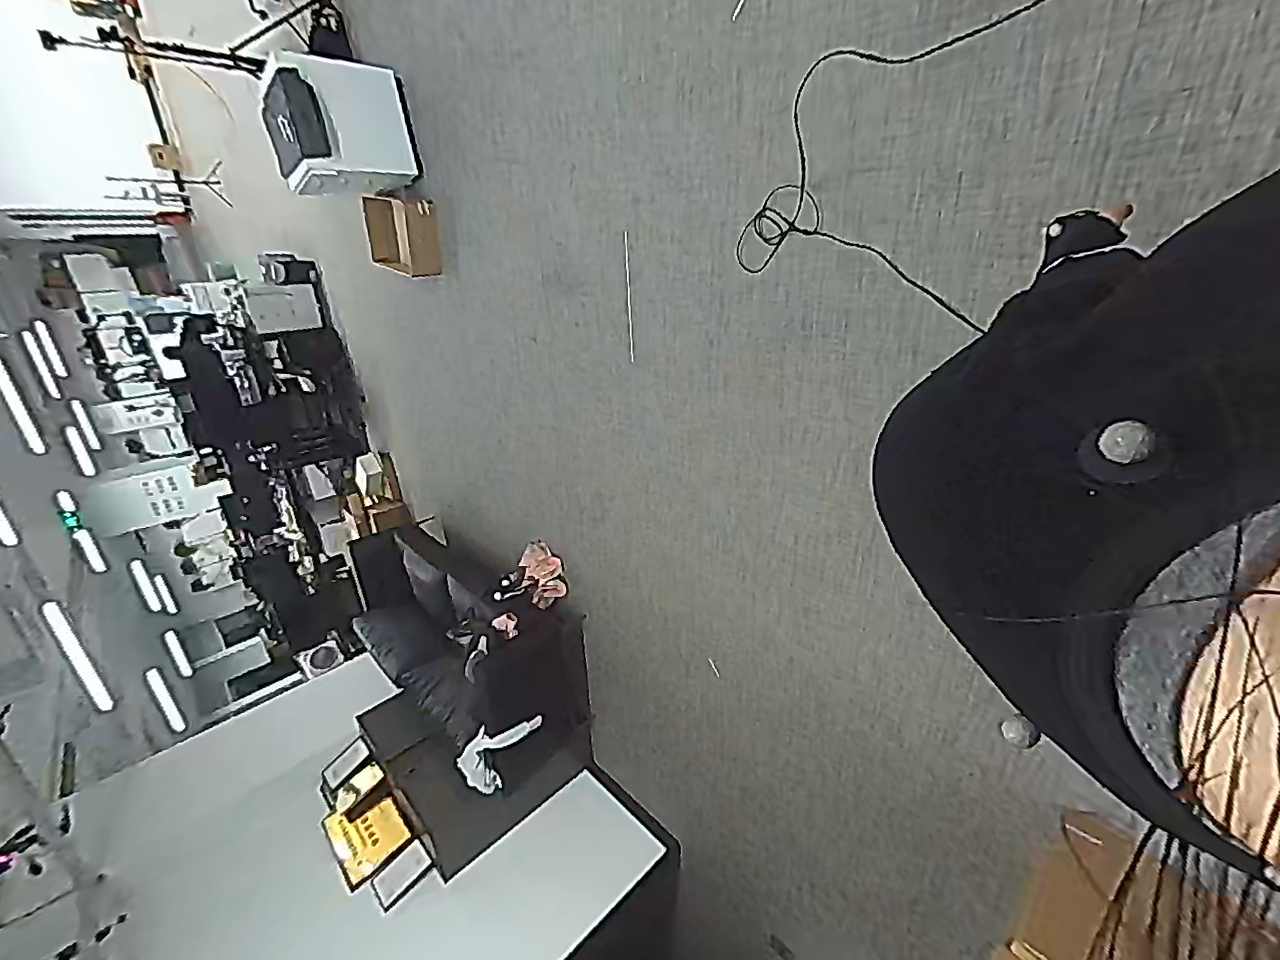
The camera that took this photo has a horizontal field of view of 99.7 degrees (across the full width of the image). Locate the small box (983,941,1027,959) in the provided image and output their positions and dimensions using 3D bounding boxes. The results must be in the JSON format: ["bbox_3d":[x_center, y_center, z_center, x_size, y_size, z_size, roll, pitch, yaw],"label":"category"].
[{"bbox_3d":[0.836,1.187,1.187,0.179,0.176,0.168,25,123,40],"label":"small box"}]
